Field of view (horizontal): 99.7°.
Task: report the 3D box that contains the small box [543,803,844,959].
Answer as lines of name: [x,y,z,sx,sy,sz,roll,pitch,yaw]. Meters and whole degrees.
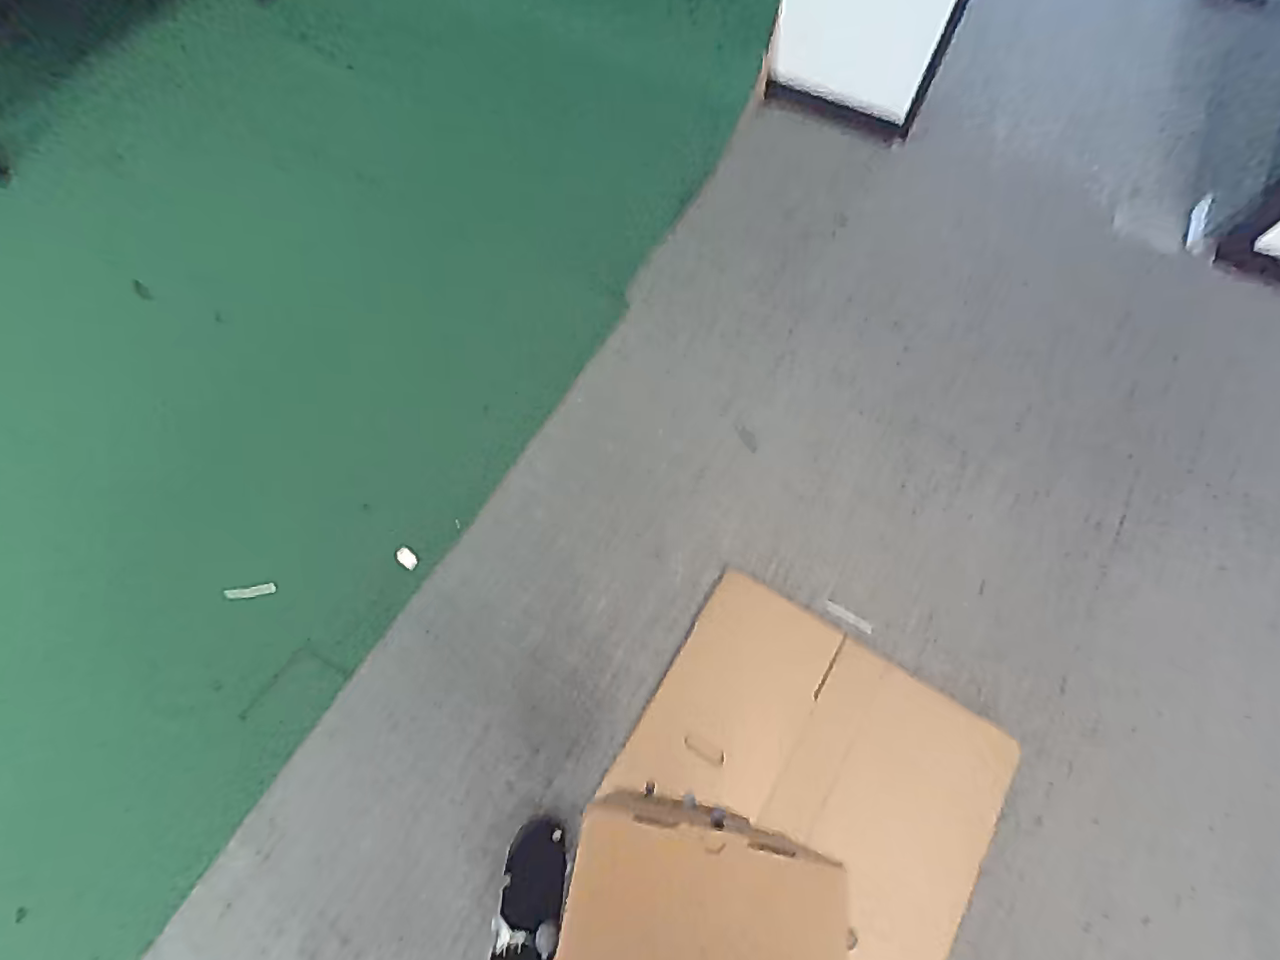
small box: [0.027,0.330,0.356,0.168,0.176,0.179,8,61,7]
